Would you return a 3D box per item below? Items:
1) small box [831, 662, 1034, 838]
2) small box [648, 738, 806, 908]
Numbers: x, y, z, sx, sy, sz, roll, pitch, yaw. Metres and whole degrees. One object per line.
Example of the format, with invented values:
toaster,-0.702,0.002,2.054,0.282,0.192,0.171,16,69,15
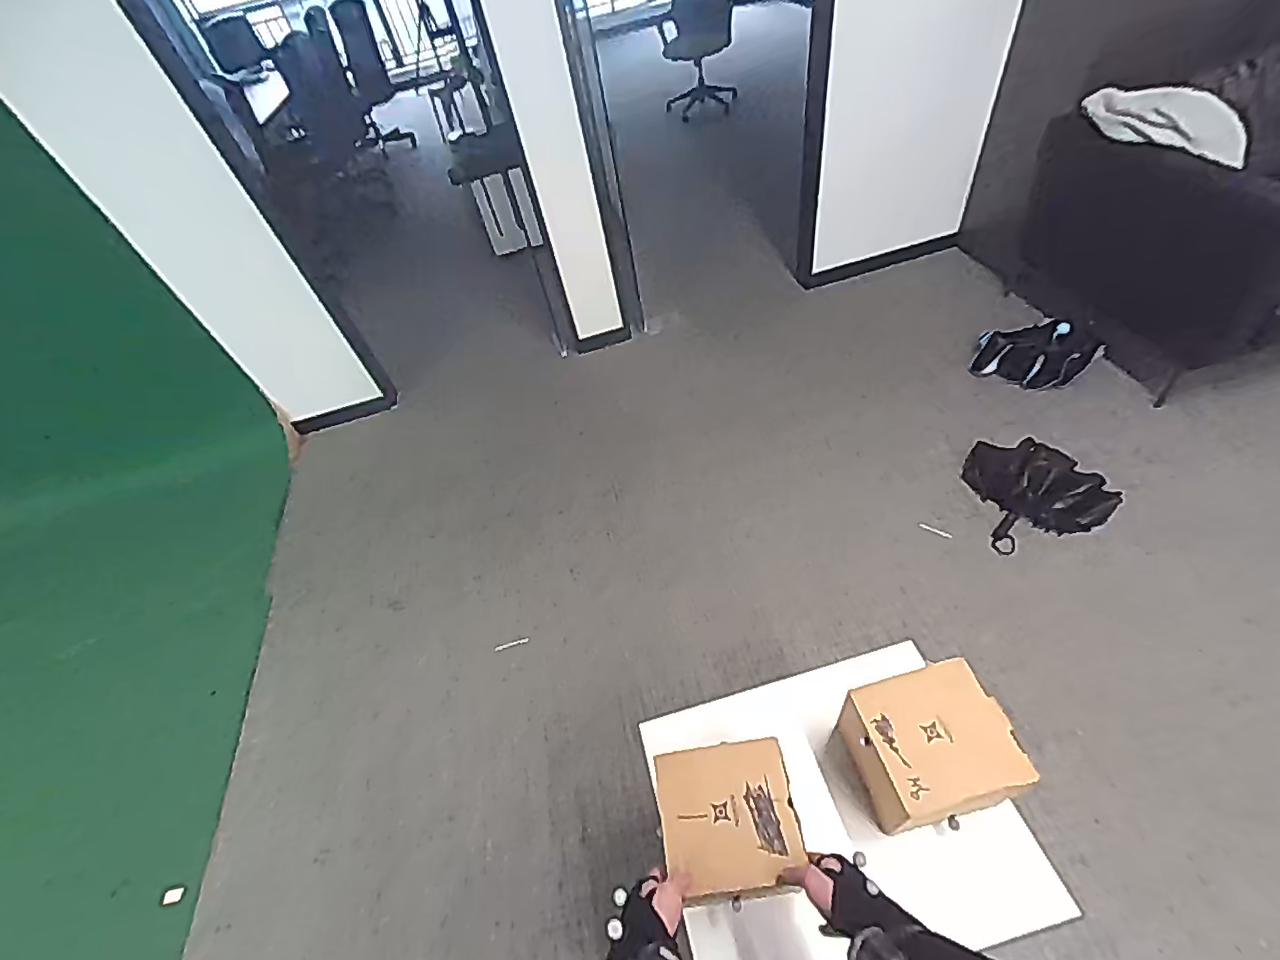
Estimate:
small box,0.397,0.388,0.774,0.179,0.176,0.168,-14,48,-3
small box,0.111,0.473,0.743,0.179,0.176,0.168,-8,48,1
